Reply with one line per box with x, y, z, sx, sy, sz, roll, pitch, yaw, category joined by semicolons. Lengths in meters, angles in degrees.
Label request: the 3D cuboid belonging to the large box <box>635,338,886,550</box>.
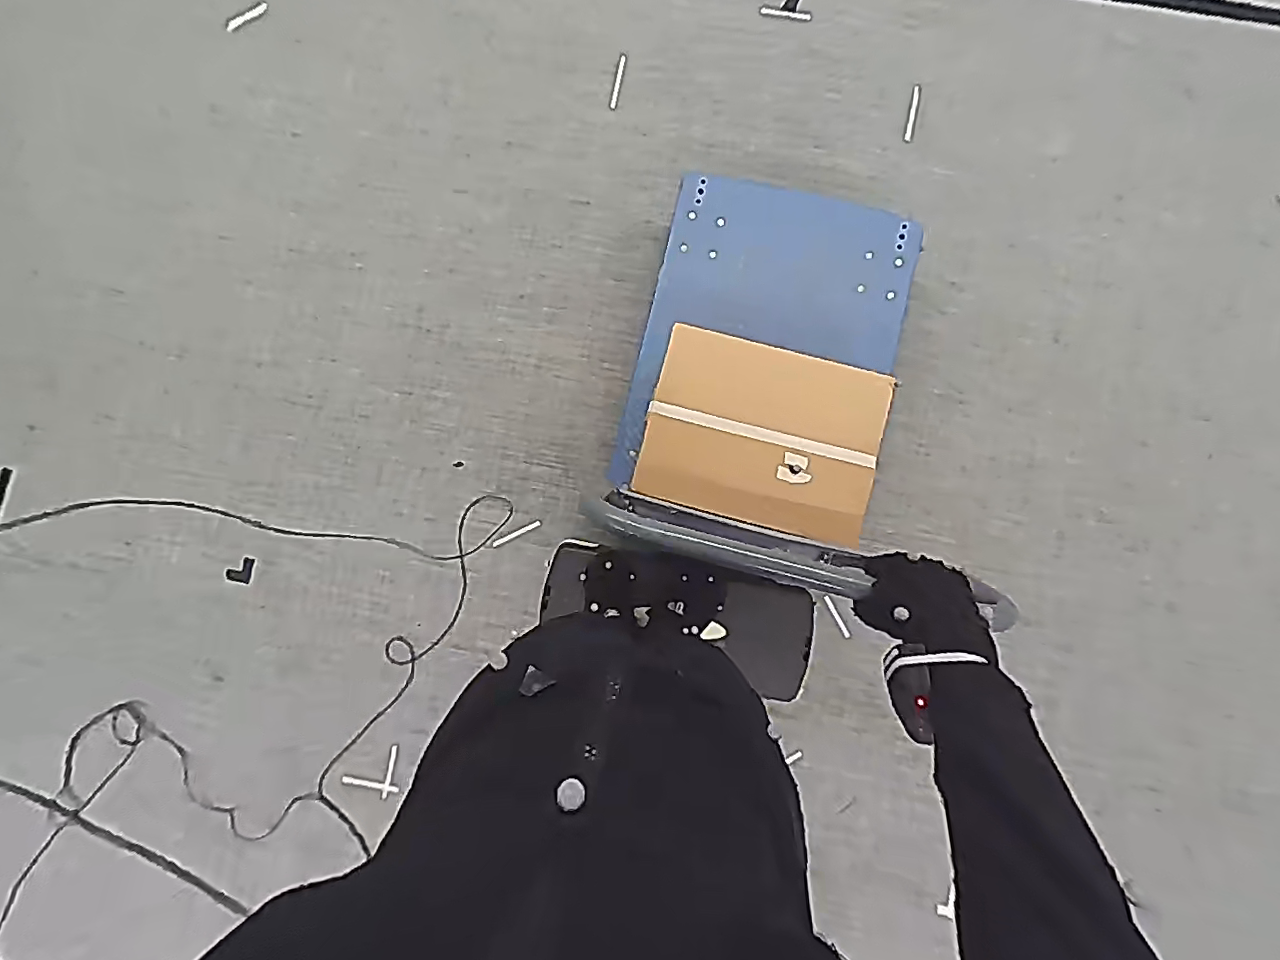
0.218;-0.059;1.120;0.408;0.320;0.320;15;88;2;large box
